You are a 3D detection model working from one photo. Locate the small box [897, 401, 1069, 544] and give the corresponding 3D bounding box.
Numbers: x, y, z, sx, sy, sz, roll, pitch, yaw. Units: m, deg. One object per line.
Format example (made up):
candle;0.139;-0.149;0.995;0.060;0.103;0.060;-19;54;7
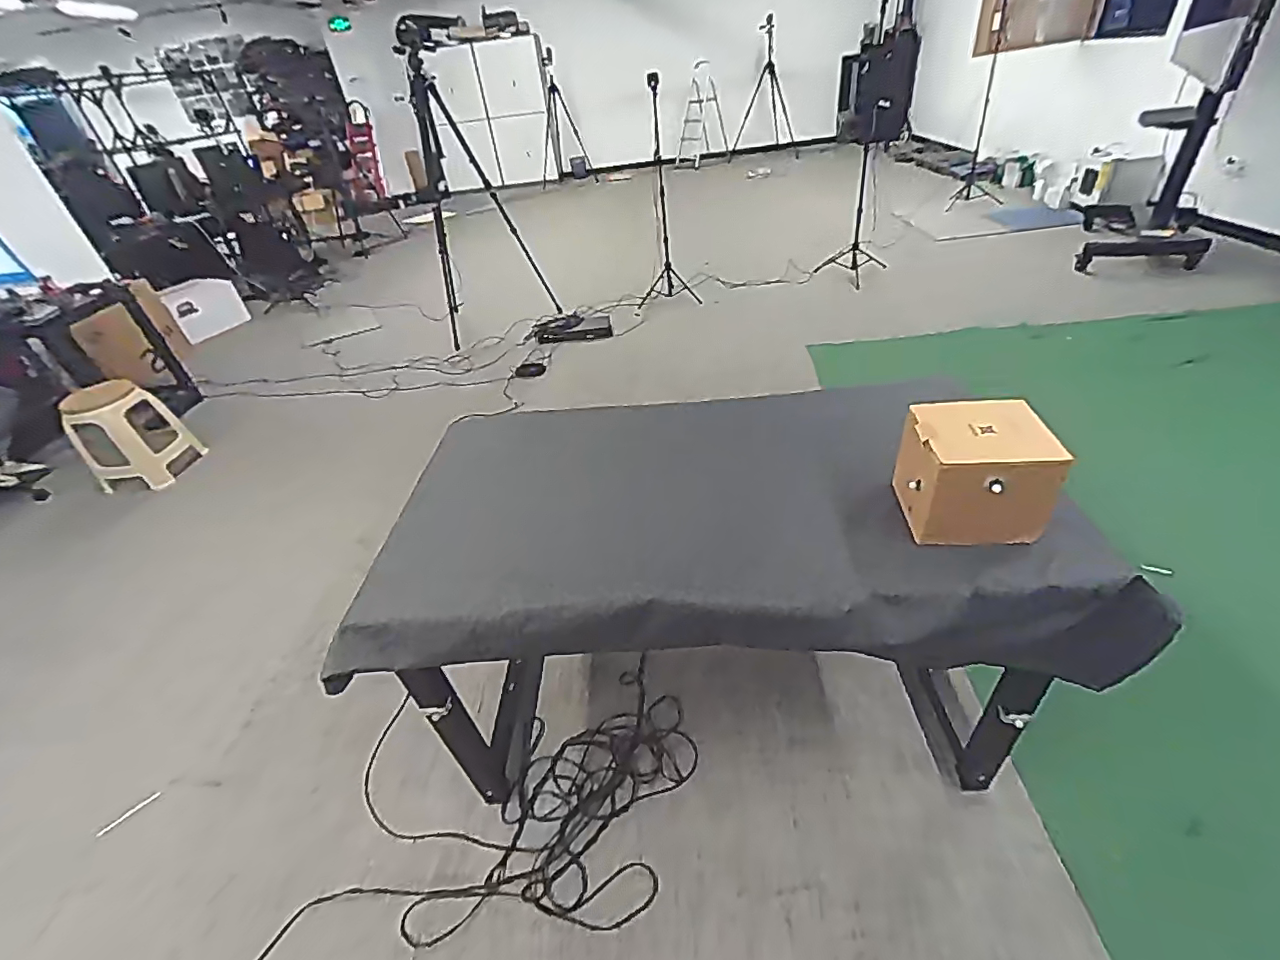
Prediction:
small box;0.525;-0.011;0.865;0.179;0.176;0.168;-1;39;9
